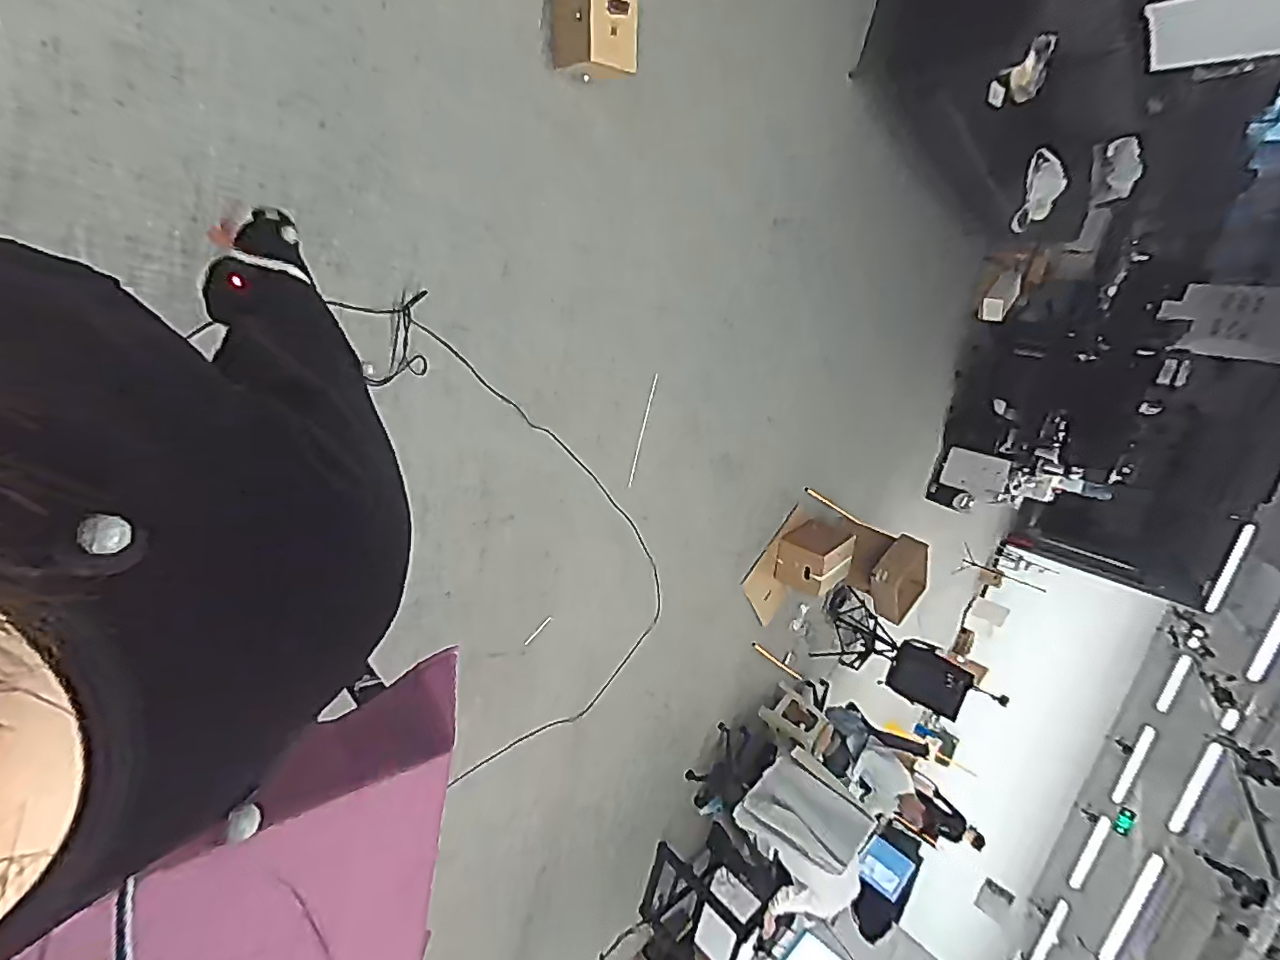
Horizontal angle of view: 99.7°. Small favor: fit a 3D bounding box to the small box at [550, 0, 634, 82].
[{"bbox_3d":[-0.132,-1.226,1.482,0.168,0.176,0.179,-21,123,-40],"label":"small box"}]
